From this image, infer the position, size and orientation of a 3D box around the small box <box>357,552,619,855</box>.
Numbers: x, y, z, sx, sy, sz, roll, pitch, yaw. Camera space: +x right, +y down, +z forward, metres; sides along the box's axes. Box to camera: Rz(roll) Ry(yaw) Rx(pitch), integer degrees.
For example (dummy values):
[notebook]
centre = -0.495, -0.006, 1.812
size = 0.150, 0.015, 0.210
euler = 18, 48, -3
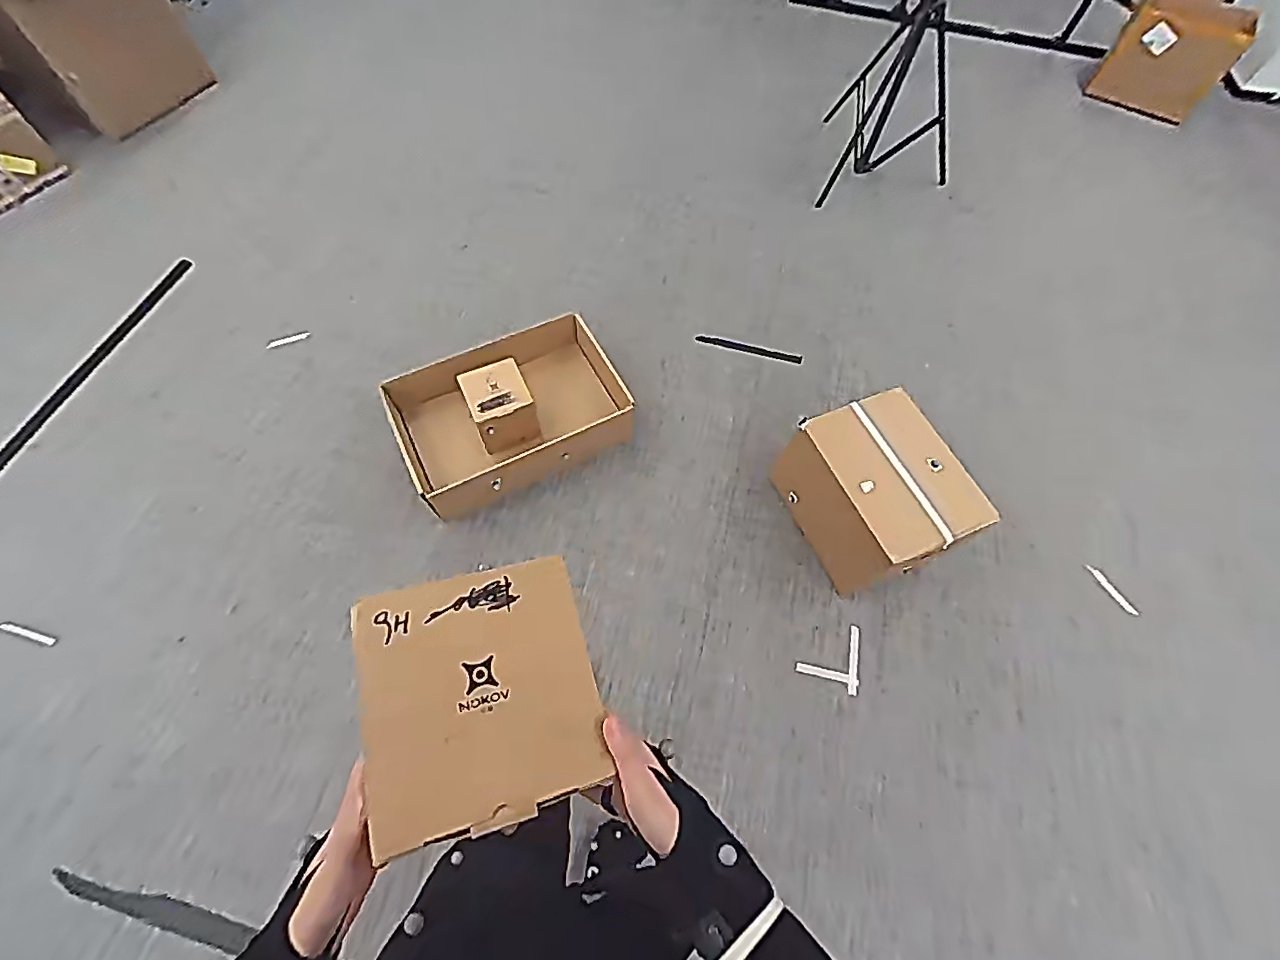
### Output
[small box]
centre = -0.129, 0.184, 0.468
size = 0.168, 0.176, 0.179
euler = -11, 66, -19
